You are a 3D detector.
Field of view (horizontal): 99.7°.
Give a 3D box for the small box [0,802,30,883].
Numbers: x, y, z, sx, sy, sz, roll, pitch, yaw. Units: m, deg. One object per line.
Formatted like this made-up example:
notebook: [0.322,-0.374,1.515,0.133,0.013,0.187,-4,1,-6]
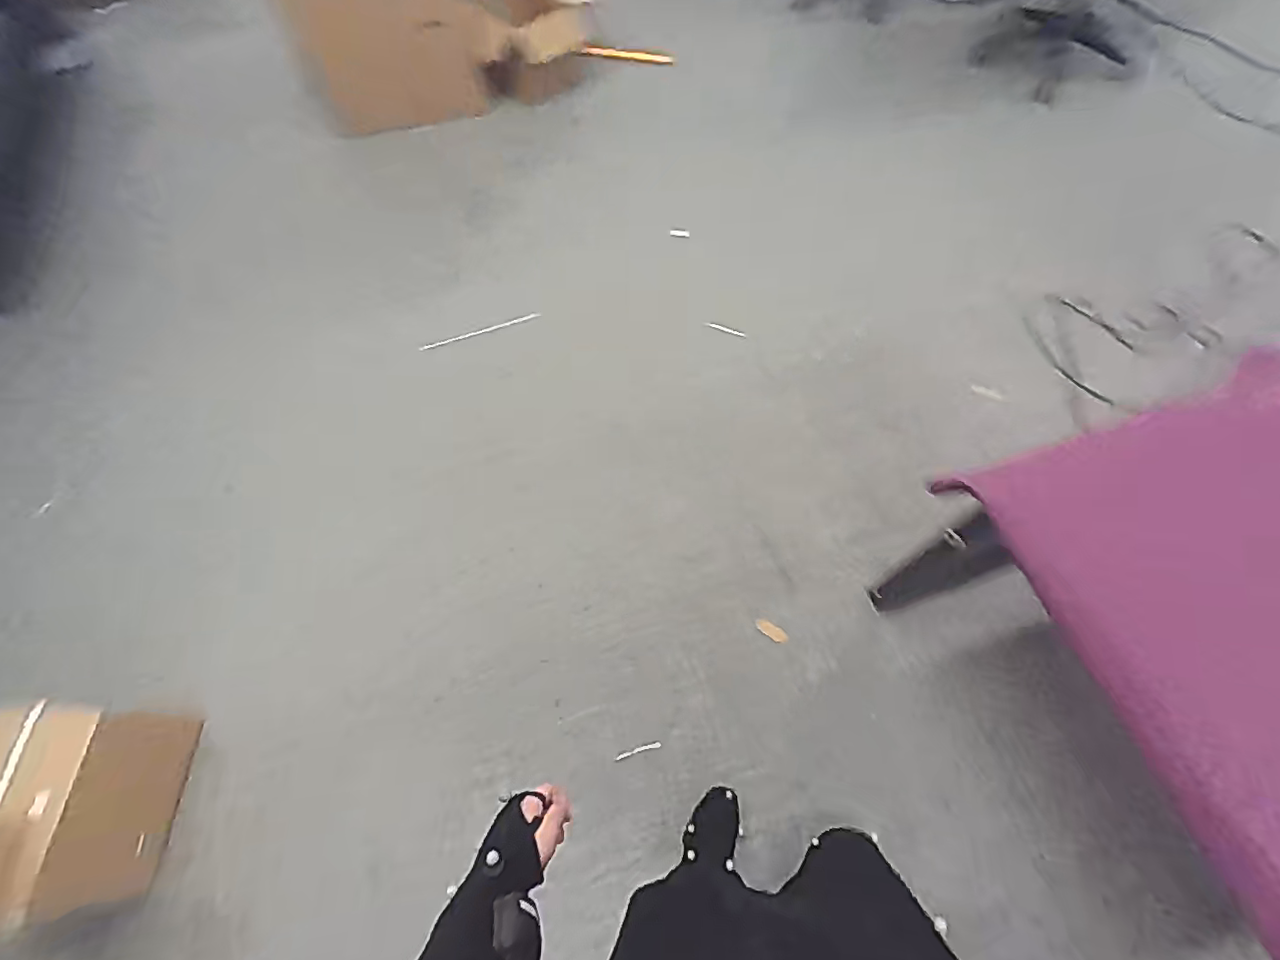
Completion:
small box: [-1.362,0.728,1.037,0.179,0.176,0.168,-6,63,-1]
